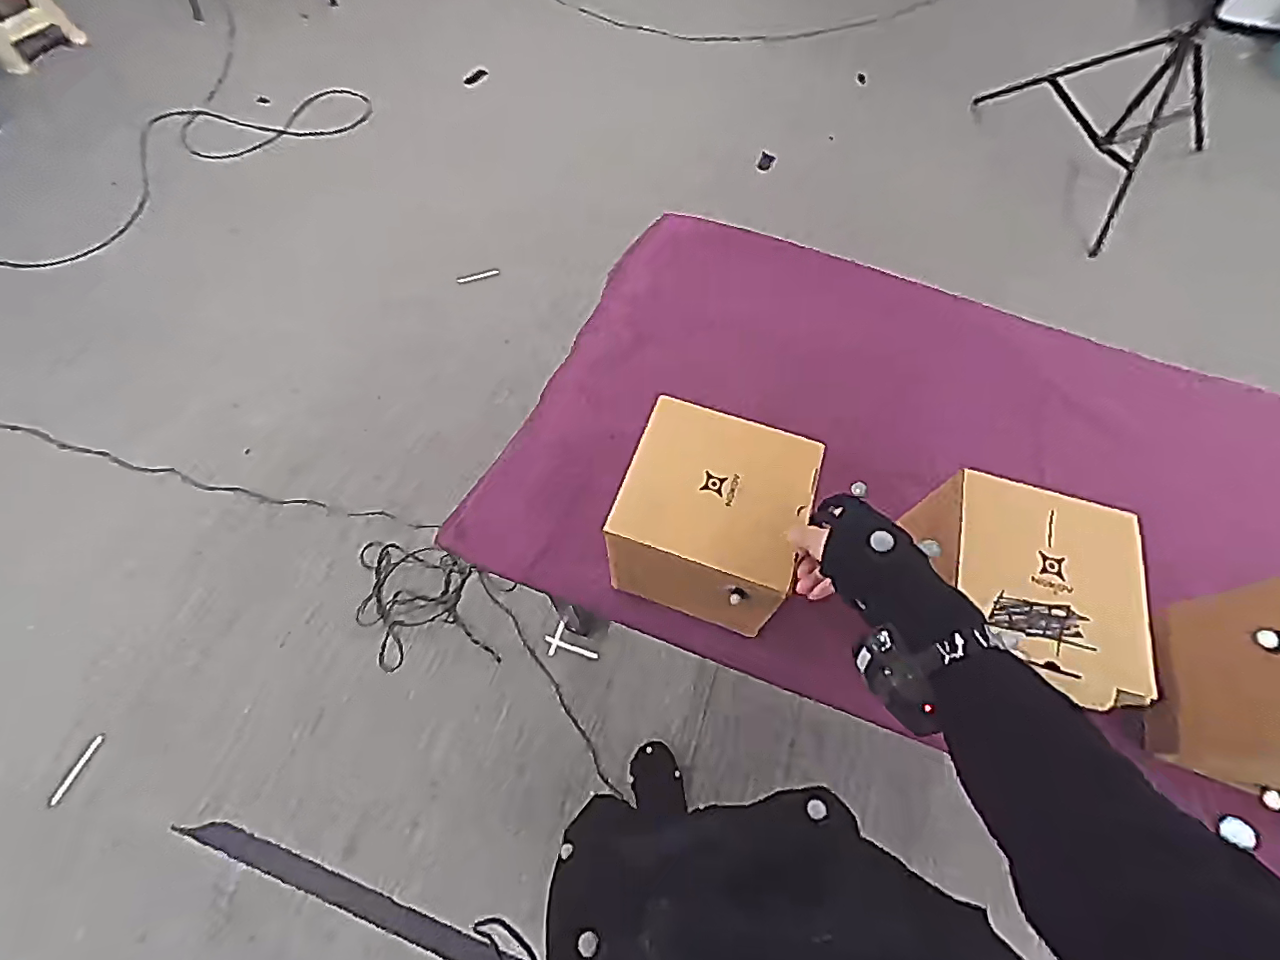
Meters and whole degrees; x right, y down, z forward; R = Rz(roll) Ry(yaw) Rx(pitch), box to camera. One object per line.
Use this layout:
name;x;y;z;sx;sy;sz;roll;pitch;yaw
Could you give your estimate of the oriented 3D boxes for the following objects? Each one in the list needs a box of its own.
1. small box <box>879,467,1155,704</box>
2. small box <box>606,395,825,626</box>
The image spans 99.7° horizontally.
small box;0.366;0.117;0.556;0.168;0.176;0.179;17;65;6
small box;0.074;0.041;0.581;0.179;0.176;0.168;18;64;7
